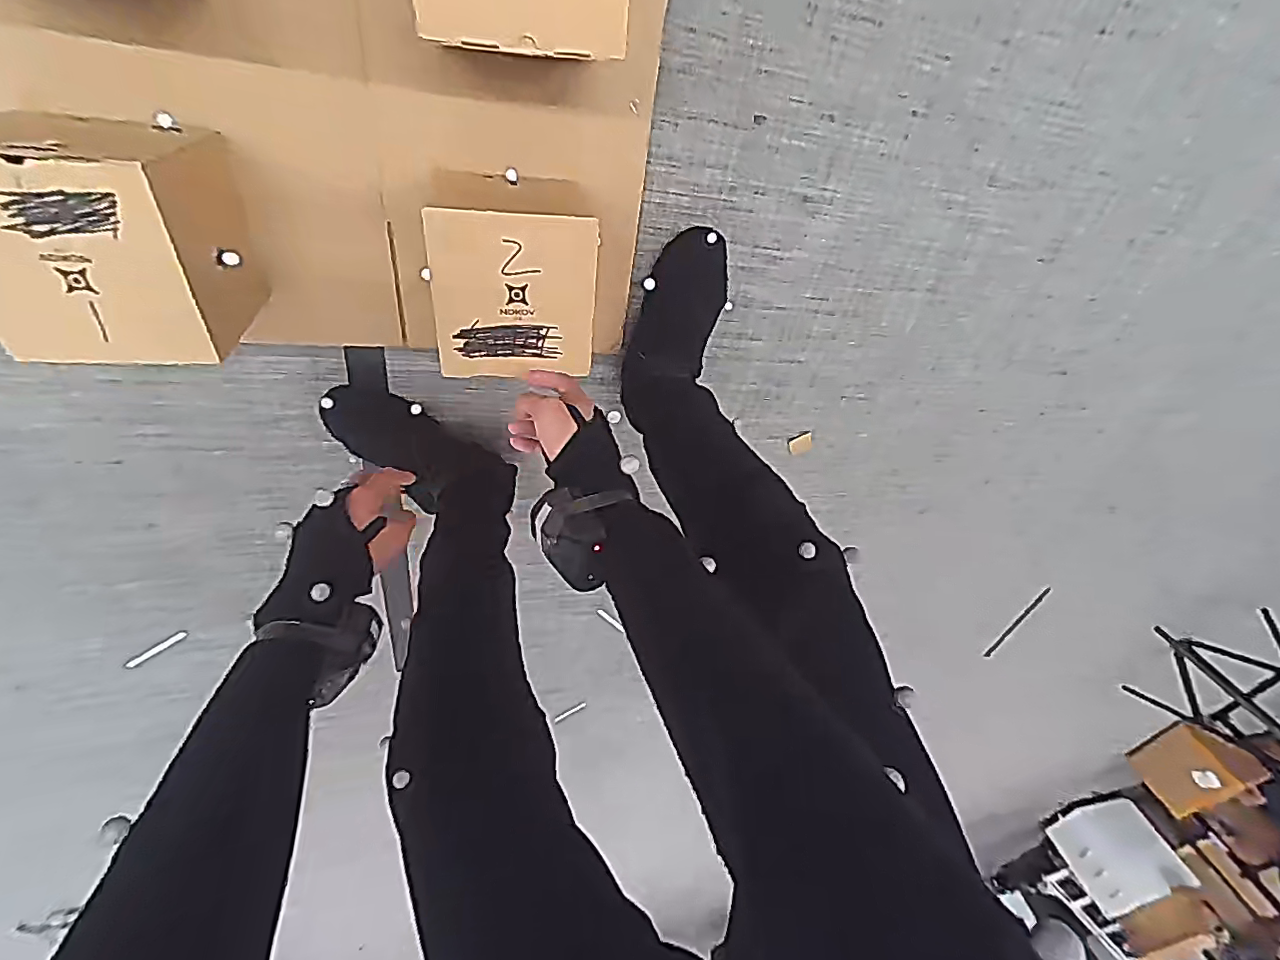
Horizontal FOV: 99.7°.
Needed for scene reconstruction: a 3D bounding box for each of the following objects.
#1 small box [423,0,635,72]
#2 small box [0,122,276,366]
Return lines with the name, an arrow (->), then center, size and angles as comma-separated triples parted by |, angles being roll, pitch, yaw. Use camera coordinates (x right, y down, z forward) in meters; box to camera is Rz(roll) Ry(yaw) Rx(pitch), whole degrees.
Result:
small box -> -0.098, -0.460, 0.451 | 0.168, 0.176, 0.179 | -4, 130, -13
small box -> -0.487, -0.229, 0.523 | 0.168, 0.176, 0.179 | -2, 130, -14
